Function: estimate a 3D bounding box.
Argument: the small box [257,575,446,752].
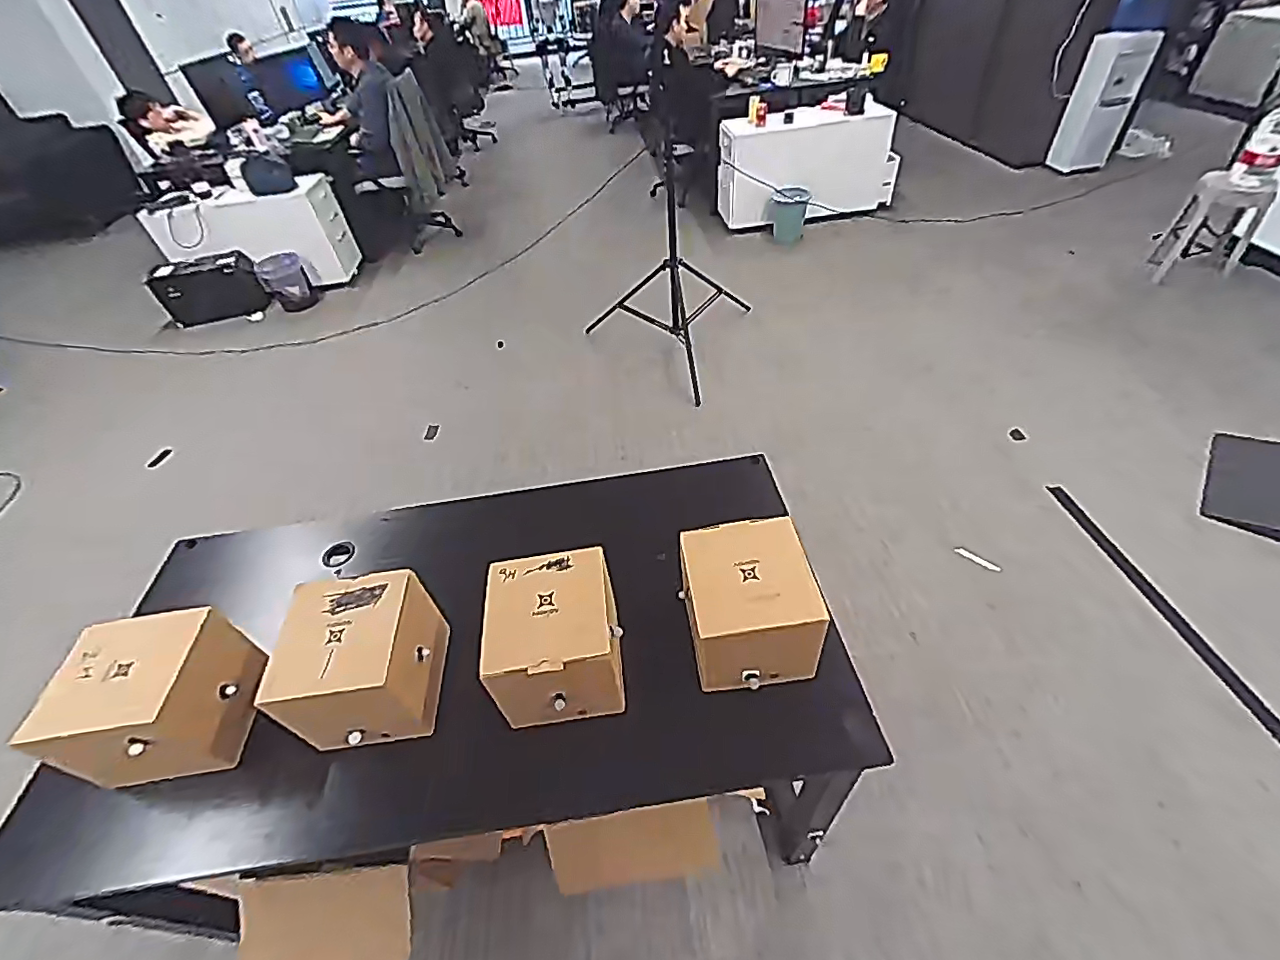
[{"bbox_3d":[-0.394,0.265,0.781,0.168,0.176,0.179,-8,45,-1],"label":"small box"}]

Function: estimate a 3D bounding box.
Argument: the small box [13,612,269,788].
[{"bbox_3d":[-0.675,0.313,0.766,0.179,0.176,0.168,-9,44,-2],"label":"small box"}]

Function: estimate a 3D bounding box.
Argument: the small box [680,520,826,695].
[{"bbox_3d":[0.153,0.186,0.791,0.168,0.176,0.179,-9,45,0],"label":"small box"}]

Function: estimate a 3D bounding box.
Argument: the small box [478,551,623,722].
[{"bbox_3d":[-0.121,0.232,0.781,0.168,0.176,0.179,-9,45,-1],"label":"small box"}]
